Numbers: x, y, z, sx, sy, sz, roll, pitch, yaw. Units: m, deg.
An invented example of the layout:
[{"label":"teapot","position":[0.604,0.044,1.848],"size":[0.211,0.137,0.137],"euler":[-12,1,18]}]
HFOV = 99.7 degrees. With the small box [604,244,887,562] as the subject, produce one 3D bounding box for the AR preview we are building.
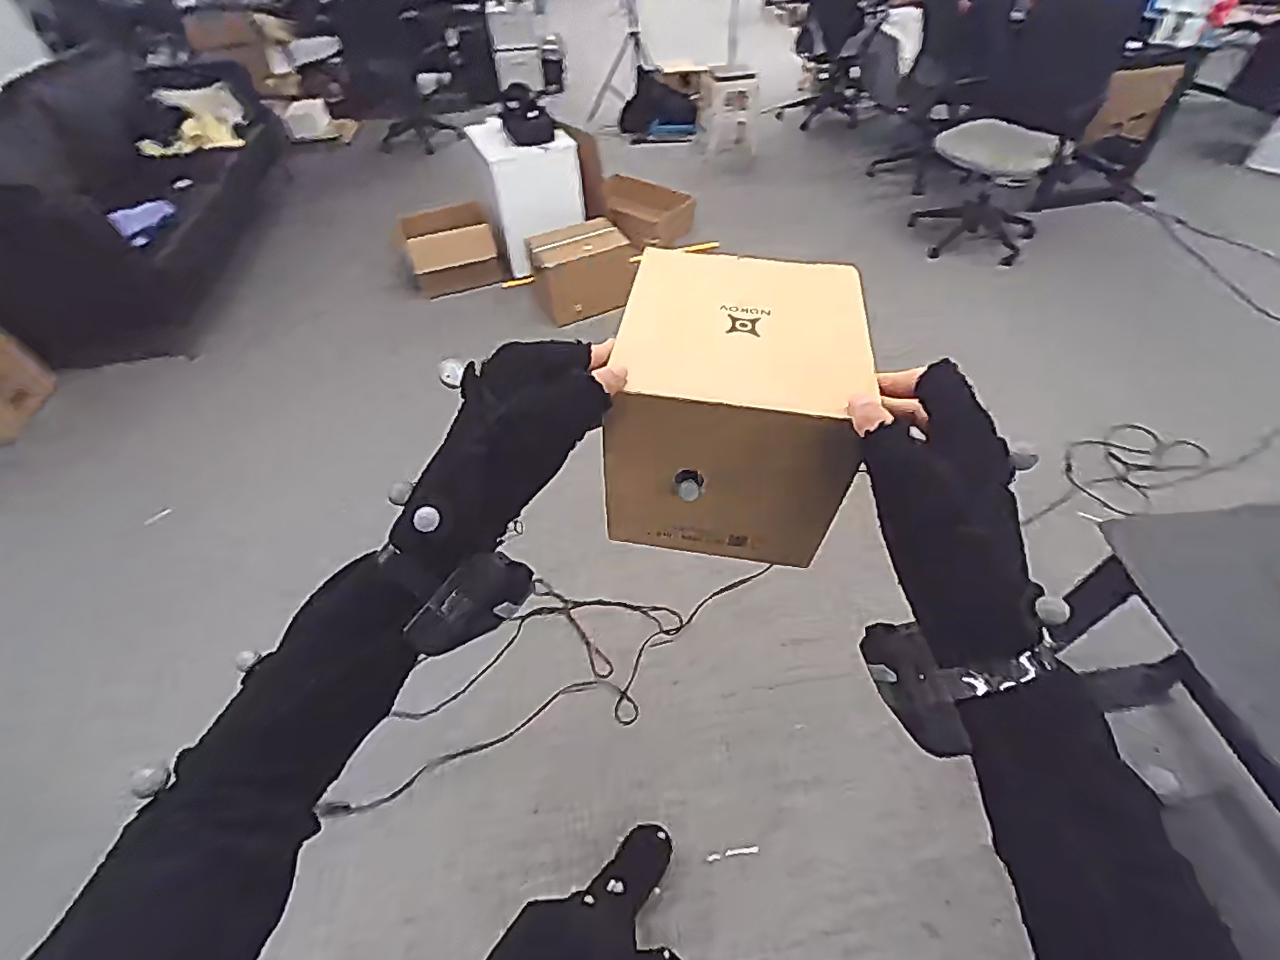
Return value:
[{"label":"small box","position":[0.073,-0.057,0.424],"size":[0.168,0.176,0.179],"euler":[9,50,6]}]
